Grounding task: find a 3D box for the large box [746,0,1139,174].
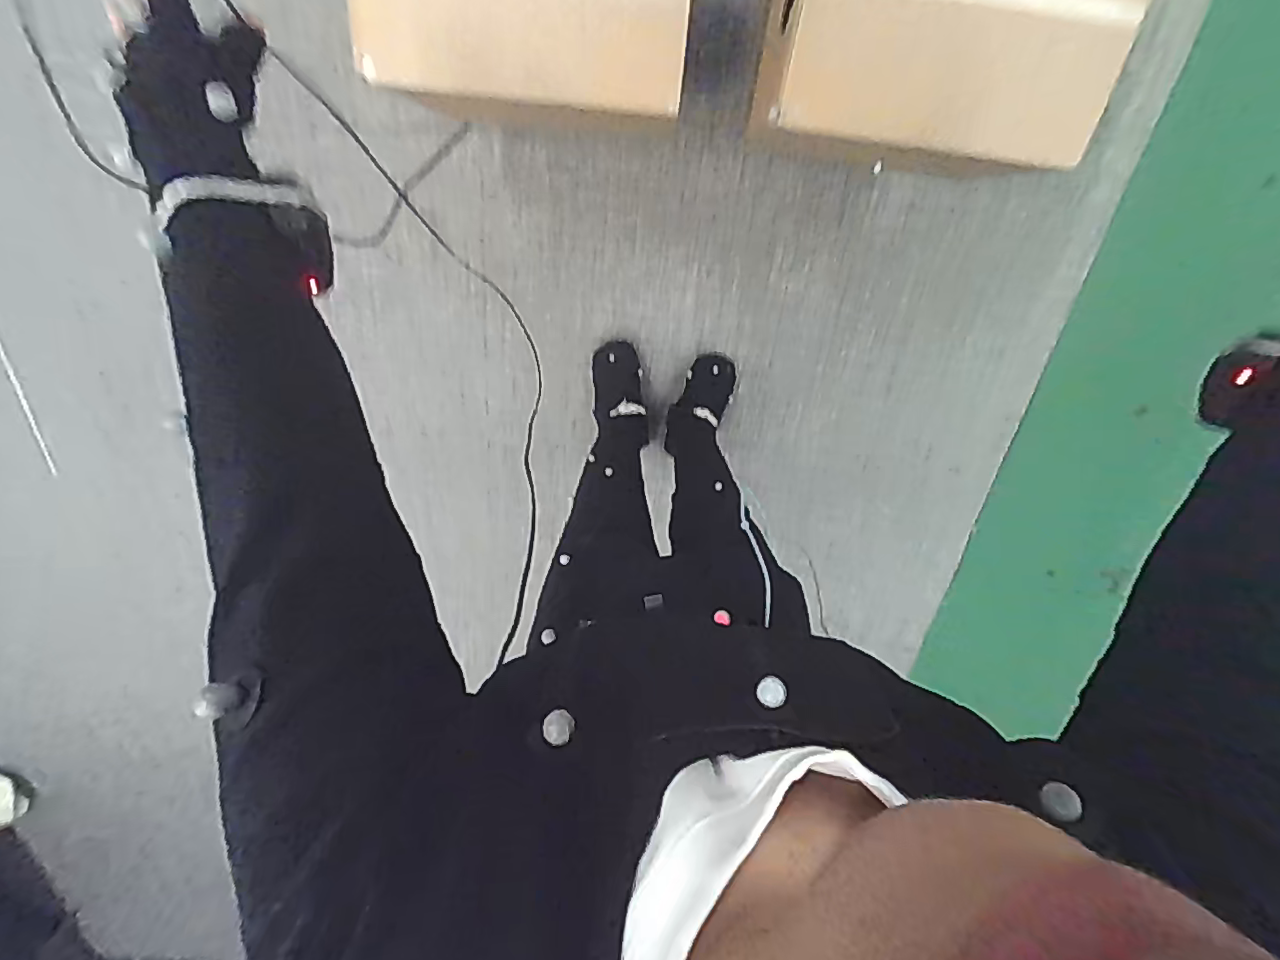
[{"bbox_3d":[0.400,-0.643,0.780,0.408,0.320,0.320,8,116,-2],"label":"large box"}]
